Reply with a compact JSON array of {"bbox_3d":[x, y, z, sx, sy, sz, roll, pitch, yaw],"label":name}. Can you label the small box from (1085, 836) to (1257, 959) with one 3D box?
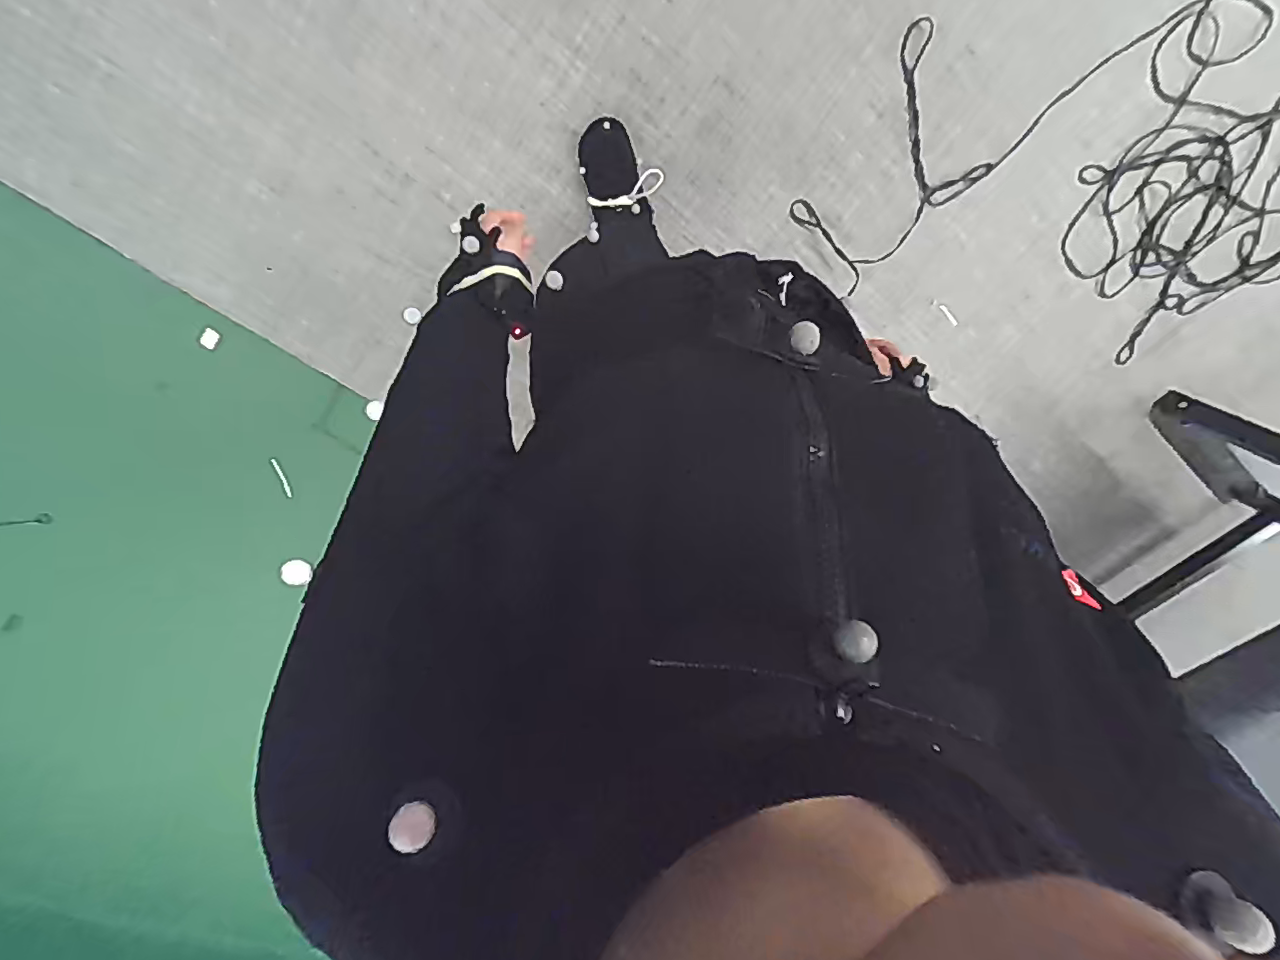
[{"bbox_3d":[1.142,0.911,1.180,0.179,0.176,0.168,21,119,-17],"label":"small box"}]
